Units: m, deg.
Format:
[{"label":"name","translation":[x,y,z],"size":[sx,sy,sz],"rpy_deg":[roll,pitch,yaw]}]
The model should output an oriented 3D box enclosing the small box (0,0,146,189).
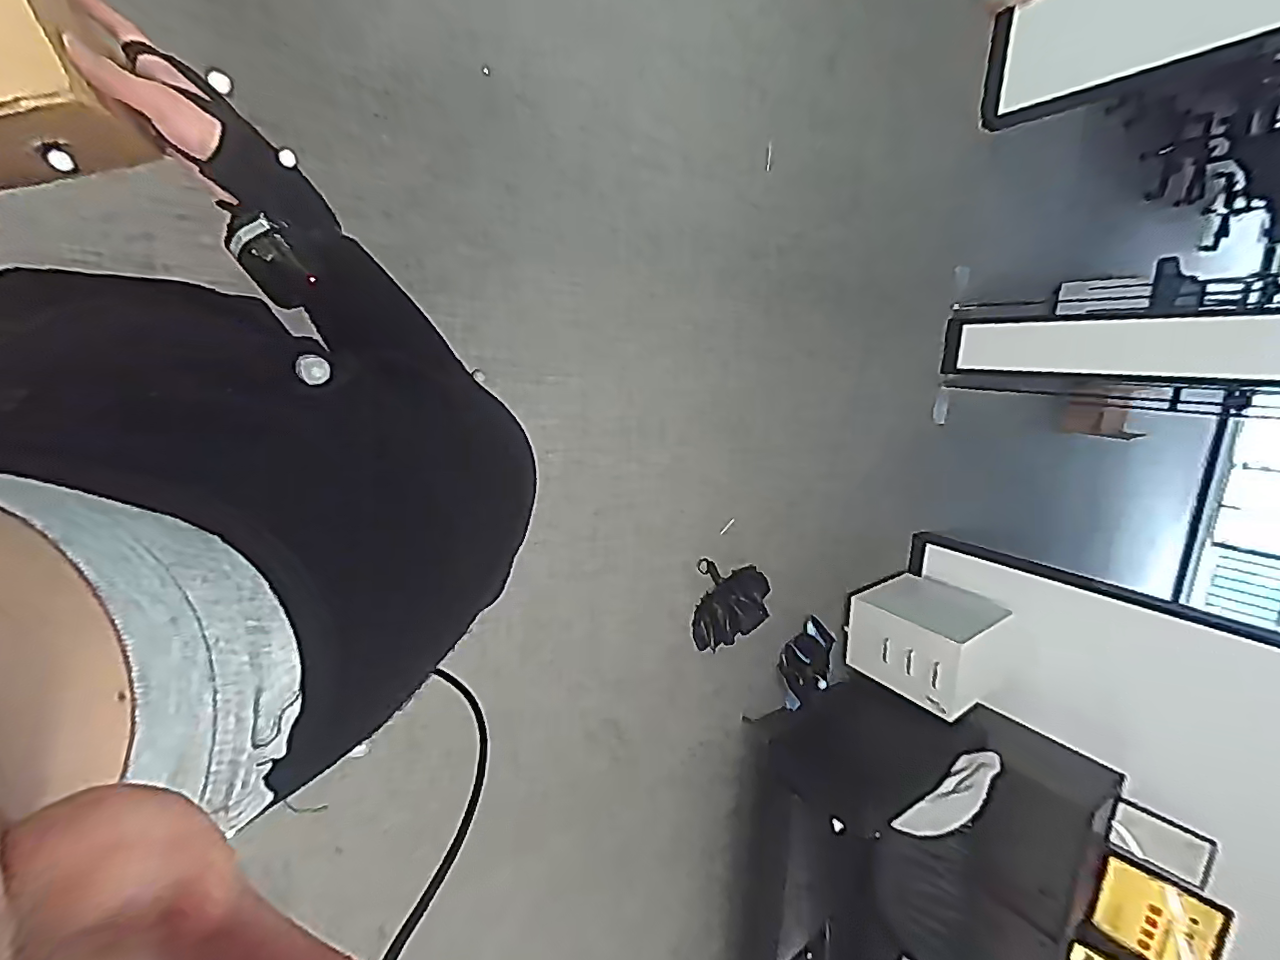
[{"label":"small box","translation":[-0.462,-0.285,0.327],"size":[0.168,0.176,0.179],"rpy_deg":[-25,115,-19]}]
